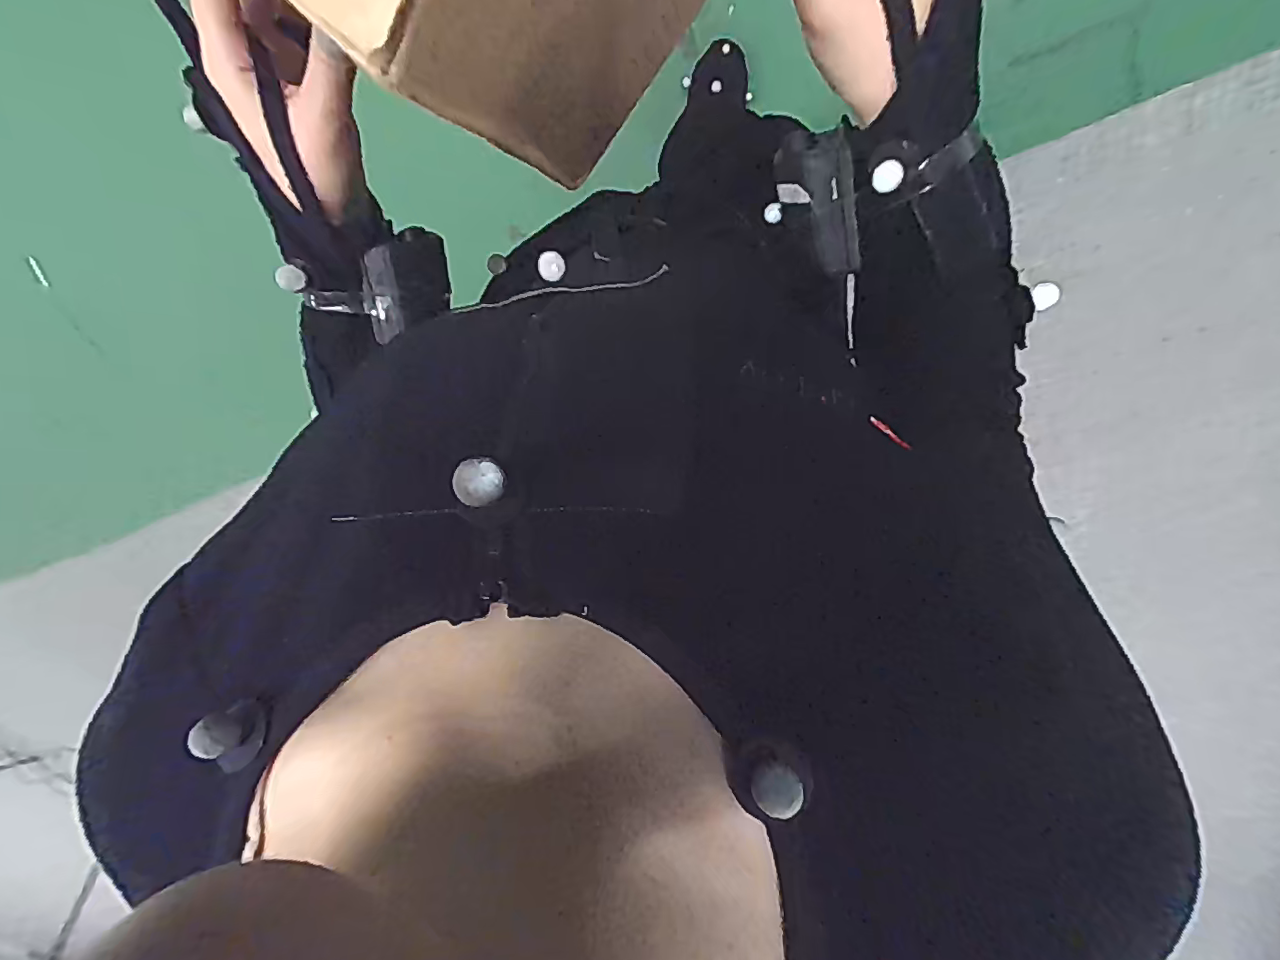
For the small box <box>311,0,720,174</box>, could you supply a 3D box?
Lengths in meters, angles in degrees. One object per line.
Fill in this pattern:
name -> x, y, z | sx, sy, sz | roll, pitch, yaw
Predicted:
small box -> -0.046, -0.234, 0.172 | 0.168, 0.176, 0.179 | 40, 112, -6
